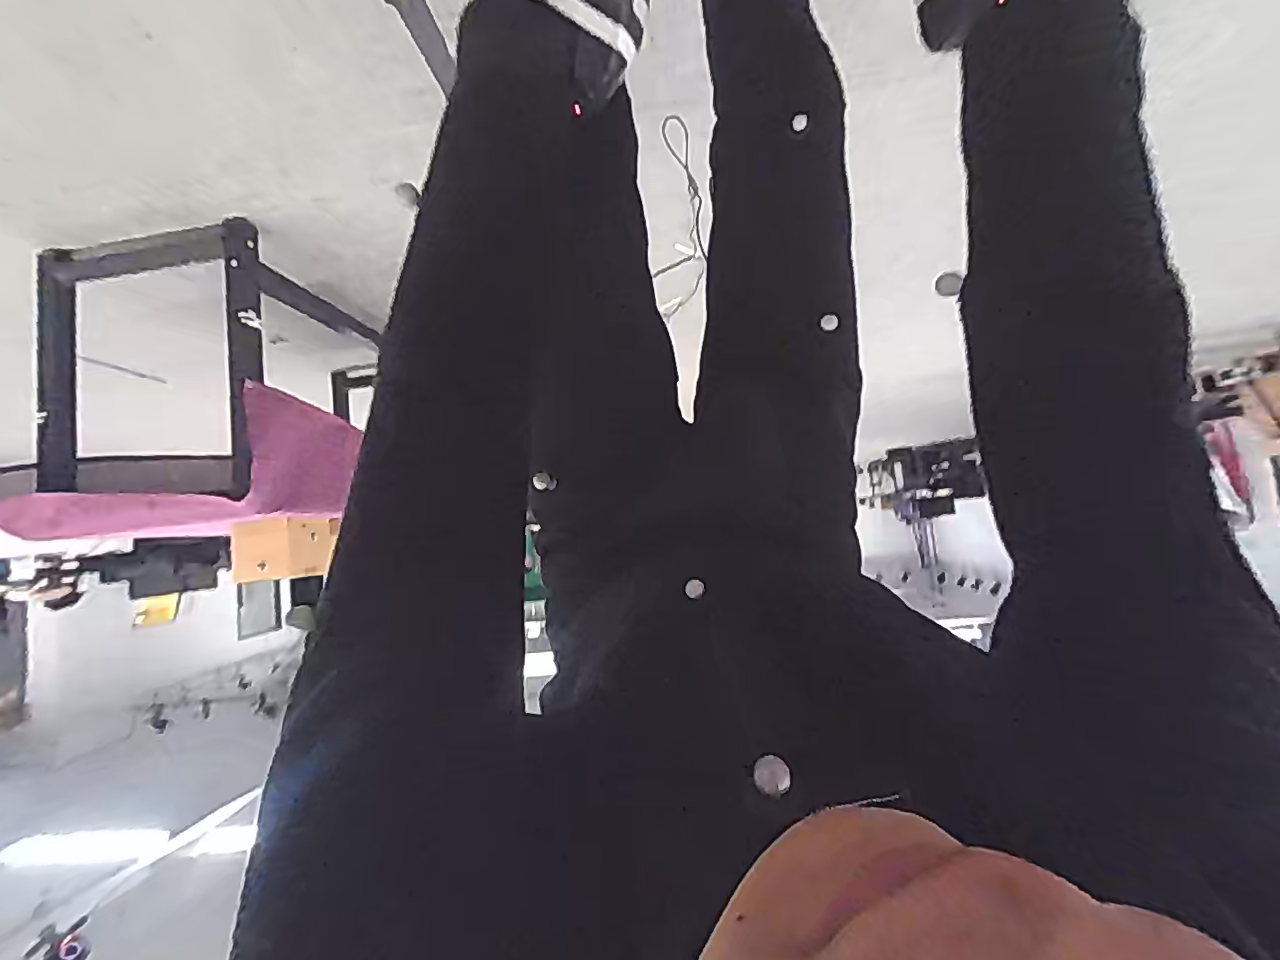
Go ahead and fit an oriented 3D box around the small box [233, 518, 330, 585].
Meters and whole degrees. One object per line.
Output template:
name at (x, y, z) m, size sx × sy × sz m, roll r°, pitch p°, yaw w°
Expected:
small box at (-1.021, 0.203, 1.548) m, size 0.179 × 0.176 × 0.168 m, roll -7°, pitch 175°, yaw 7°
